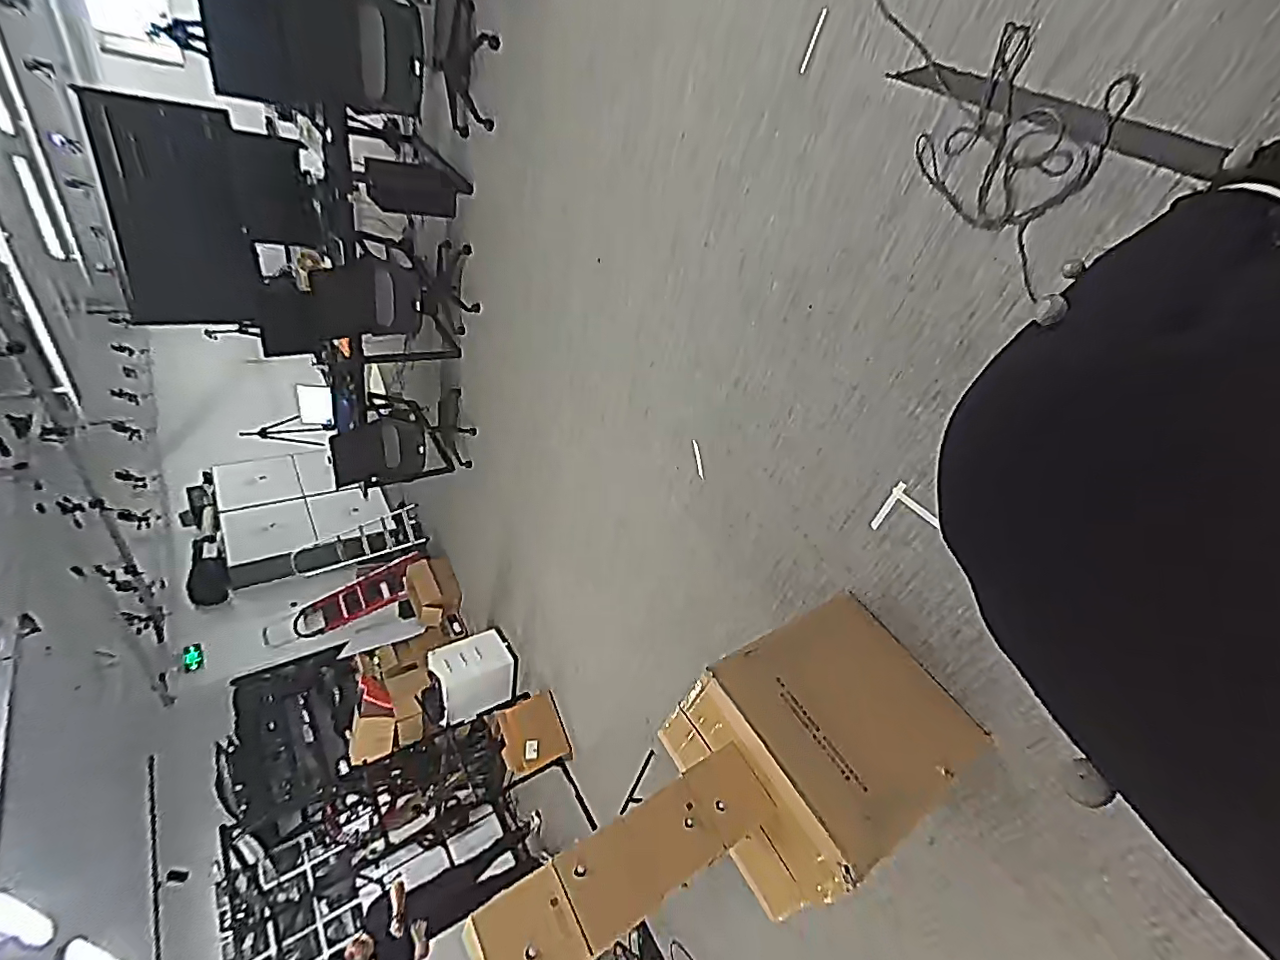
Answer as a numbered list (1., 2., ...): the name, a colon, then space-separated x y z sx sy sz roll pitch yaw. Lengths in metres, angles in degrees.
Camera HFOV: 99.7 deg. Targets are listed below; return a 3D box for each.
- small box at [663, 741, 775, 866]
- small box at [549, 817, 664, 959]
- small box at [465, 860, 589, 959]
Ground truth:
1. small box: 0.188 0.761 1.283 0.179 0.176 0.168 52 139 33
2. small box: -0.081 0.827 1.104 0.179 0.176 0.168 52 139 32
3. small box: -0.213 0.861 1.016 0.168 0.176 0.179 51 138 33
